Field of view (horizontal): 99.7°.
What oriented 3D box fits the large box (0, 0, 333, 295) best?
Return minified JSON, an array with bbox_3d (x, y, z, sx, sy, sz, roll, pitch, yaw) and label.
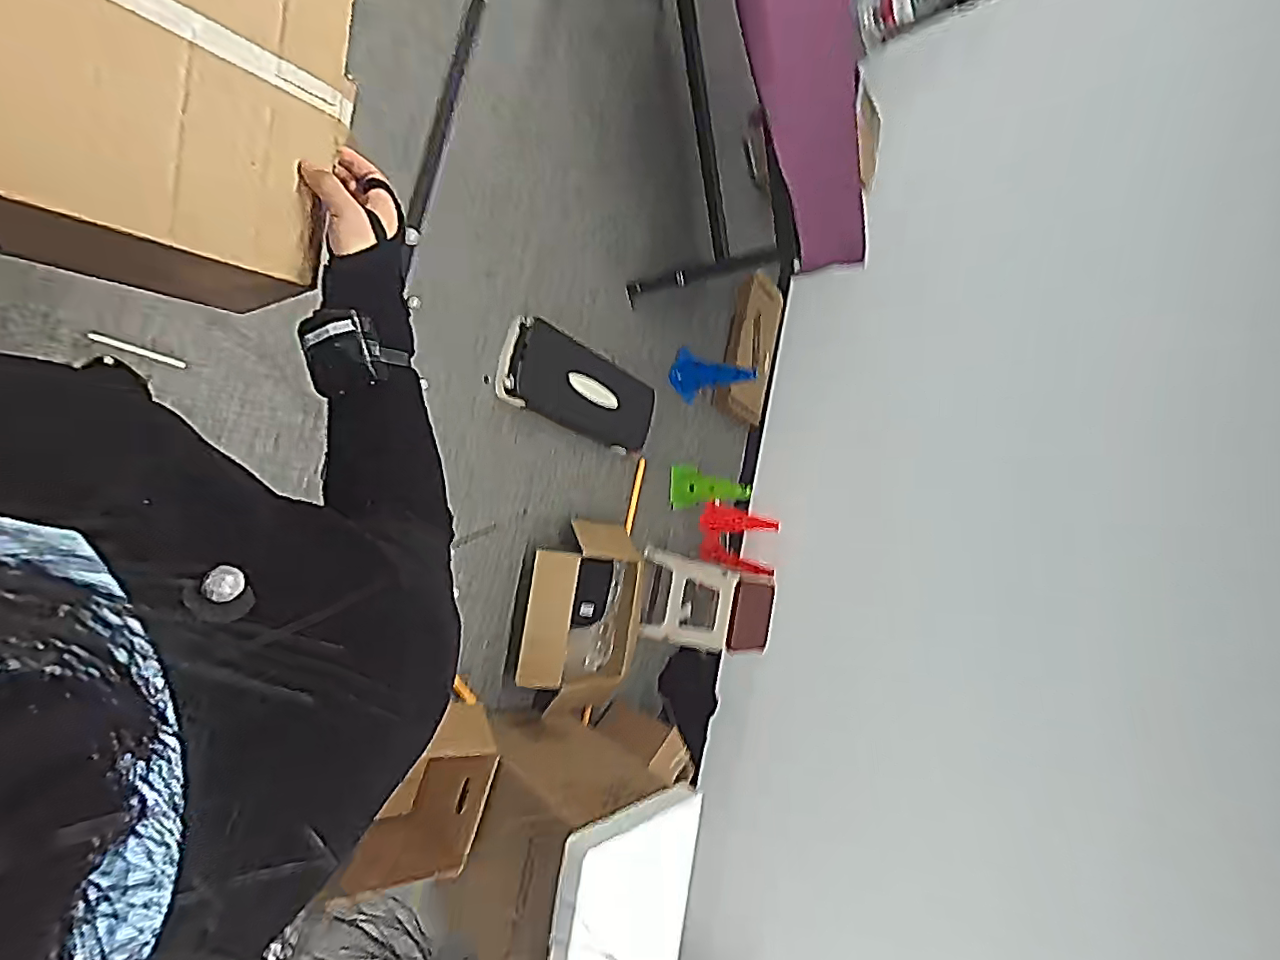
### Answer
[{"bbox_3d":[-0.515,-0.366,0.432,0.408,0.320,0.320,5,94,-46],"label":"large box"}]
